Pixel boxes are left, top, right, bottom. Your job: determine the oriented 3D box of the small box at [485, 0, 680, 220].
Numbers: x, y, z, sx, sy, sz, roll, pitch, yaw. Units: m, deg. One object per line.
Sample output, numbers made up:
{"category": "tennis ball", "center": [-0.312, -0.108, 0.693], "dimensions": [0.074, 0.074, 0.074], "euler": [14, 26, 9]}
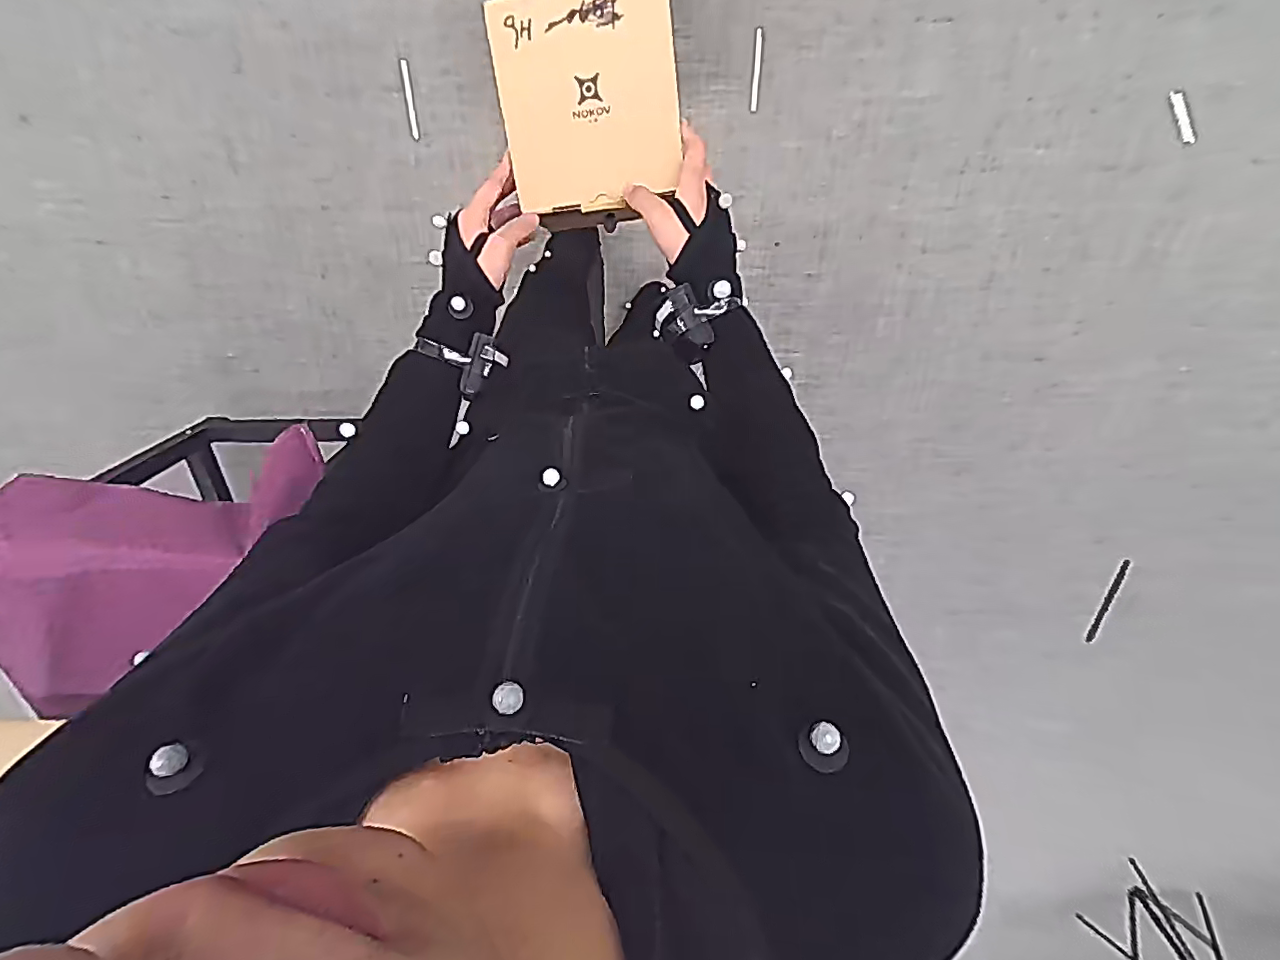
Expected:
{"category": "small box", "center": [-0.046, -0.385, 0.580], "dimensions": [0.168, 0.176, 0.179], "euler": [-6, 110, 3]}
